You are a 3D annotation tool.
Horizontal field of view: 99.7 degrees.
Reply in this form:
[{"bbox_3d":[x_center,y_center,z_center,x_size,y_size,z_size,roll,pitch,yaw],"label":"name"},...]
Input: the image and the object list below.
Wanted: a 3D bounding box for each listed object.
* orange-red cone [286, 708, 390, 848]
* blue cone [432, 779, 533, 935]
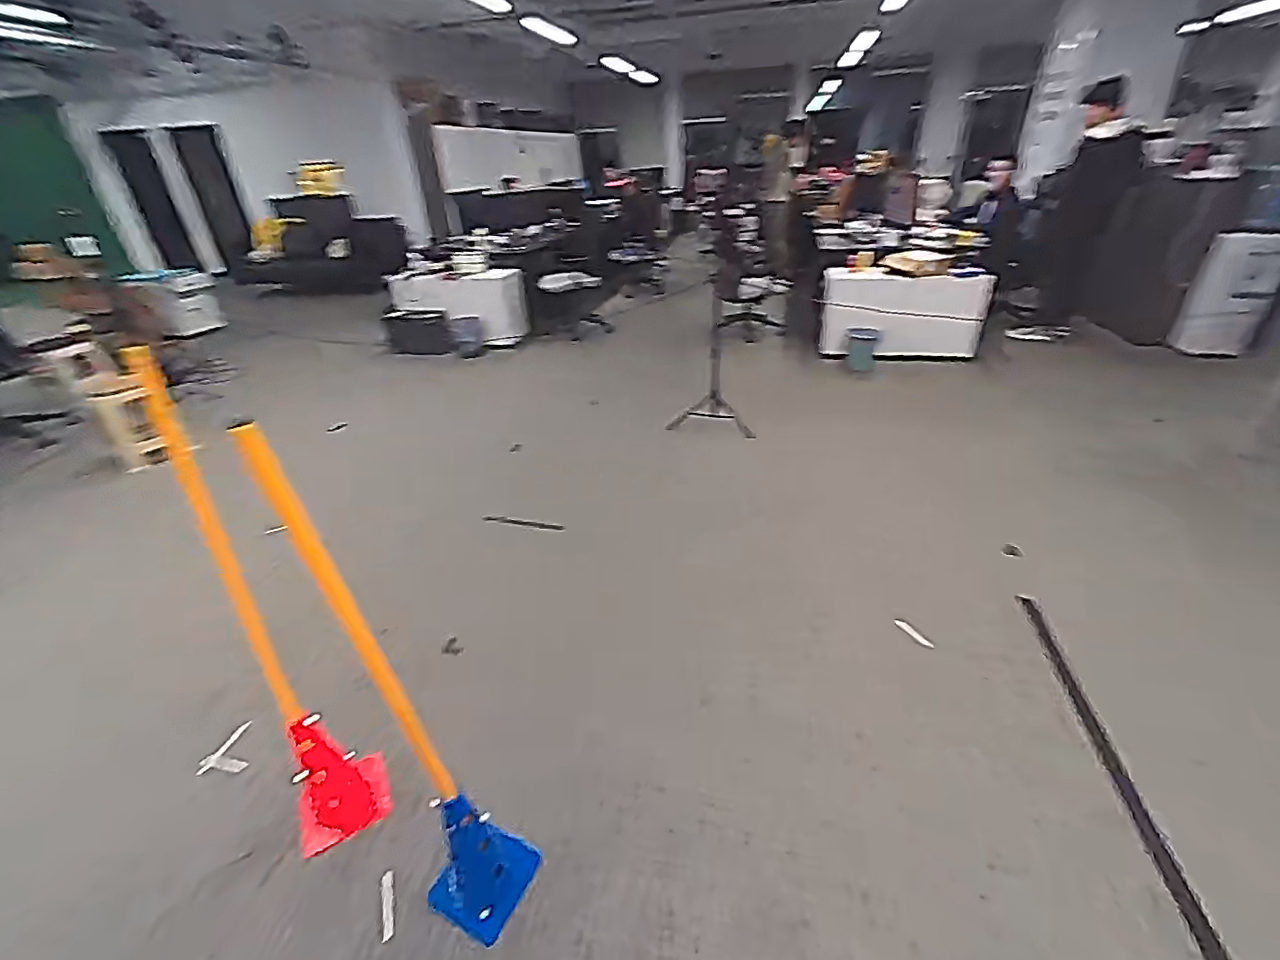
[{"bbox_3d":[-0.776,0.686,1.326,0.198,0.360,0.199,-20,36,-24],"label":"orange-red cone"},{"bbox_3d":[-0.371,0.774,1.166,0.192,0.380,0.193,13,35,27],"label":"blue cone"}]
